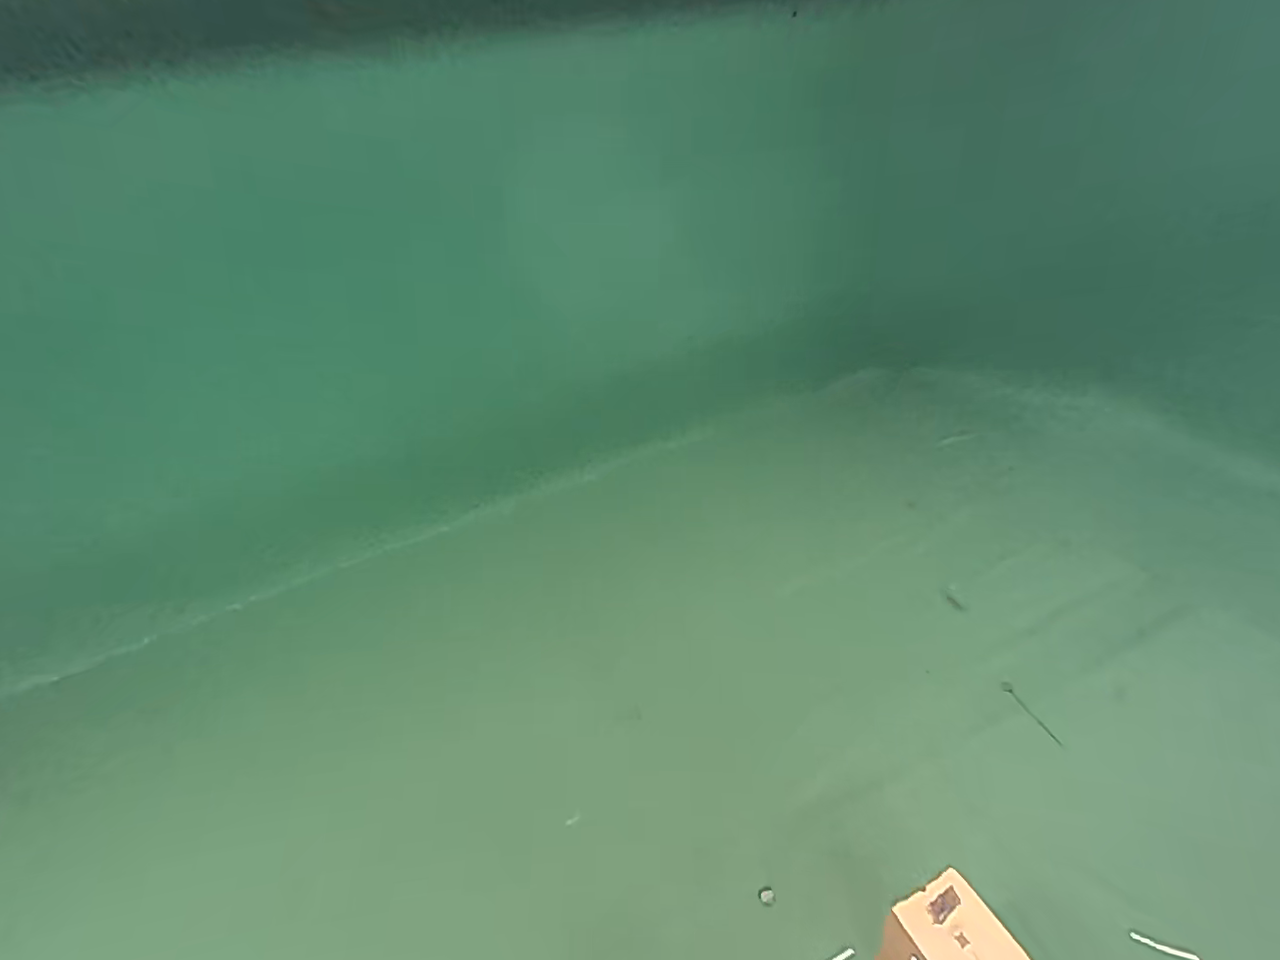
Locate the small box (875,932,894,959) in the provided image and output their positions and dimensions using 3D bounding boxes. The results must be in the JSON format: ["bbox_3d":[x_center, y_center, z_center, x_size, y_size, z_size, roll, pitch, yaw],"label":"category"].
[{"bbox_3d":[0.629,1.063,1.156,0.168,0.176,0.179,-19,34,-15],"label":"small box"}]

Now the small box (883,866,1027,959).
[{"bbox_3d":[0.609,0.926,1.068,0.168,0.176,0.179,-20,34,-16],"label":"small box"}]
